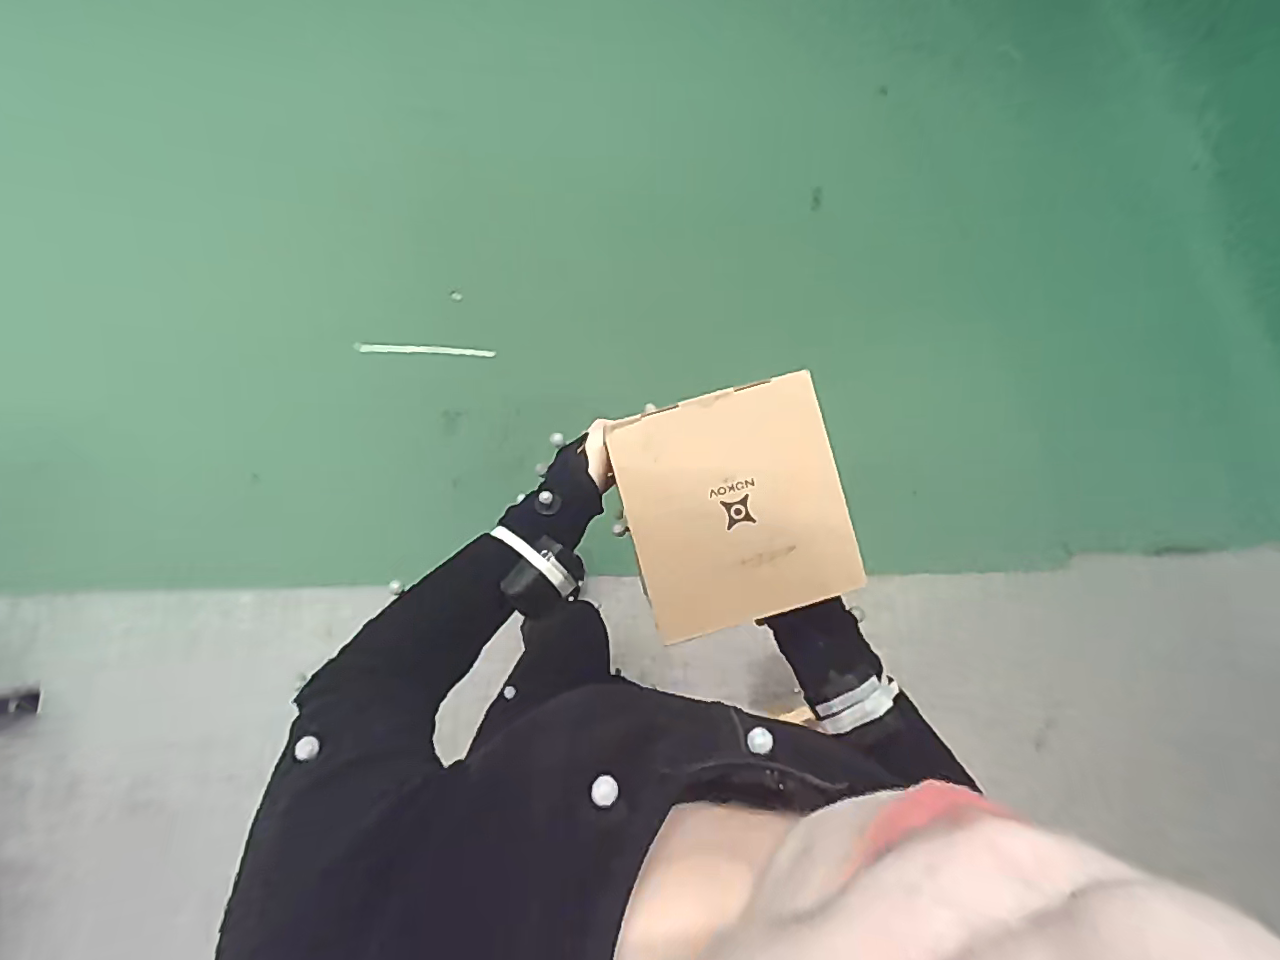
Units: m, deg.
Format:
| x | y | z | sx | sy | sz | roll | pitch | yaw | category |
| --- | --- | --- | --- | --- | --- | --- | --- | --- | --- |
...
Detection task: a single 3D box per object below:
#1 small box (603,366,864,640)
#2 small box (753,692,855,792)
| x | y | z | sx | sy | sz | roll | pitch | yaw | category |
| --- | --- | --- | --- | --- | --- | --- | --- | --- | --- |
| 0.065 | 0.018 | 0.485 | 0.168 | 0.176 | 0.179 | -16 | 91 | -3 | small box |
| 0.401 | 0.644 | 1.355 | 0.168 | 0.176 | 0.179 | -11 | 79 | -11 | small box |
